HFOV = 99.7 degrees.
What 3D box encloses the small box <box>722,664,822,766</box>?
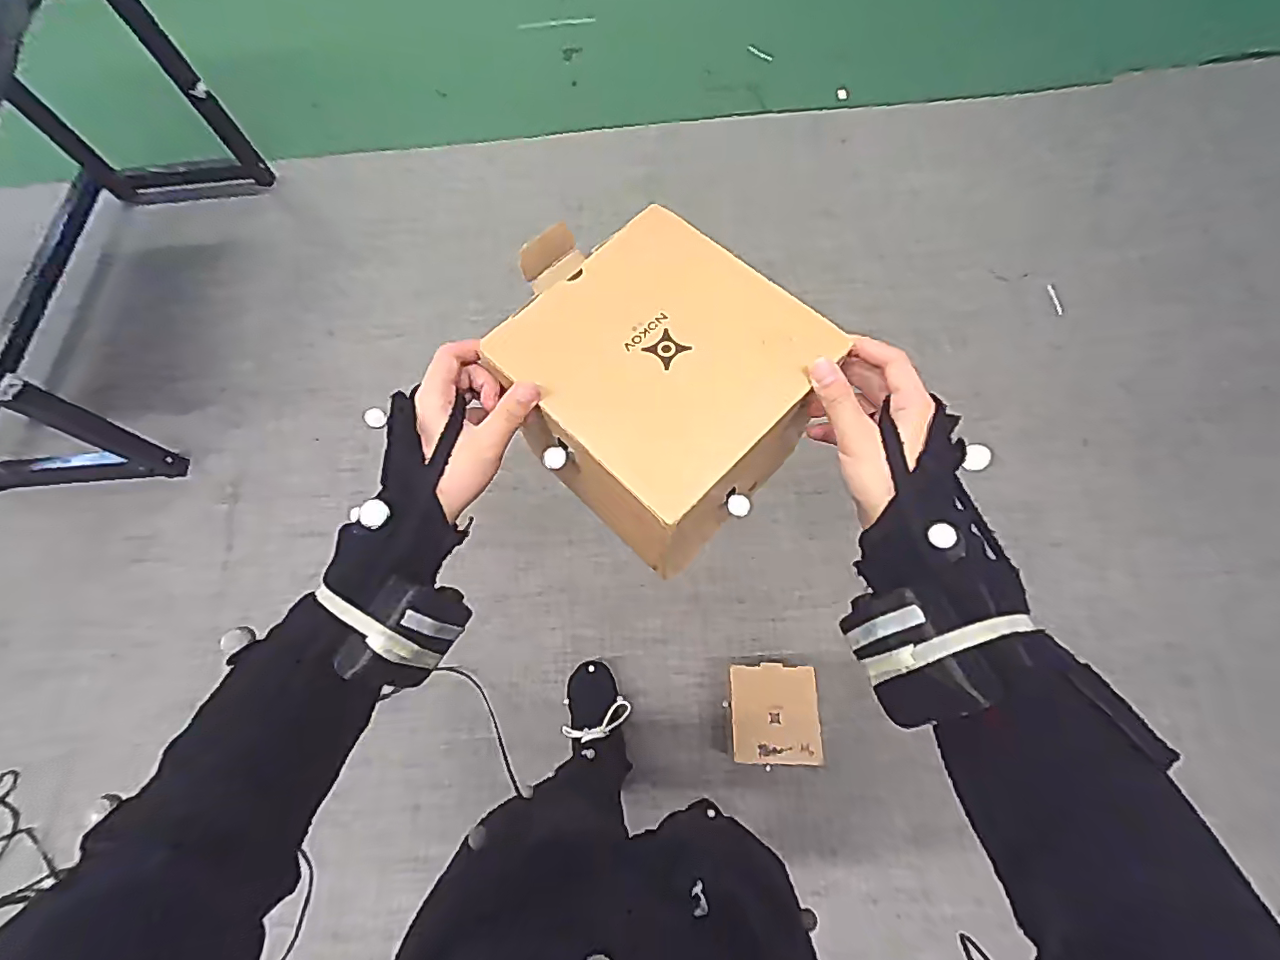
[{"bbox_3d":[0.259,0.477,1.102,0.168,0.176,0.179,-1,67,4],"label":"small box"}]
